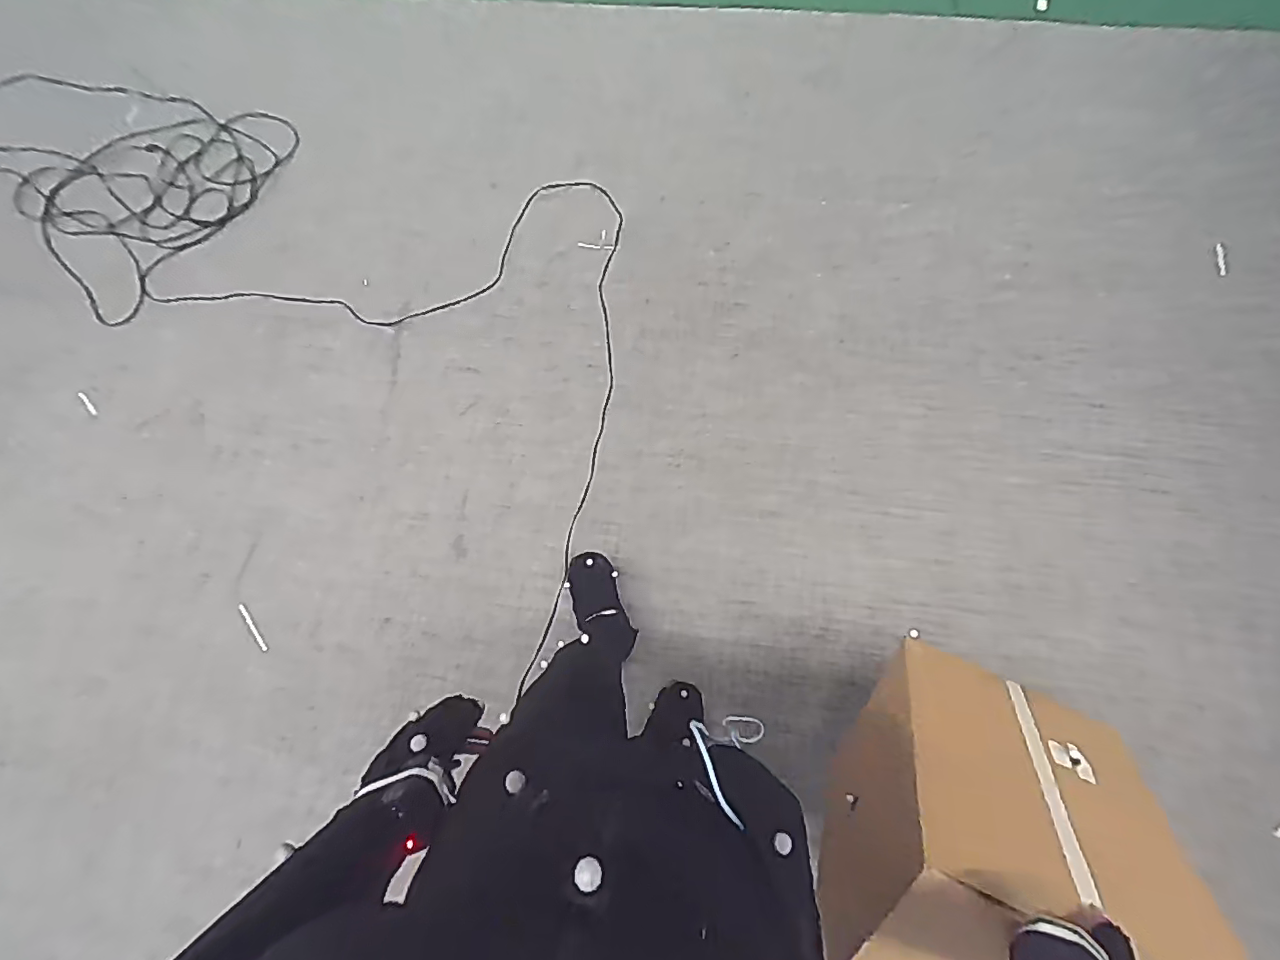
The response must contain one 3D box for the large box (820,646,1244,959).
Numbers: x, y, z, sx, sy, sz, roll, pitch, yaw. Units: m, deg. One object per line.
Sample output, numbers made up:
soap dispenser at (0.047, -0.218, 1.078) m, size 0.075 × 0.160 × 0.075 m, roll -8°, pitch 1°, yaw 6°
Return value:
large box at (0.449, 0.509, 0.712) m, size 0.320 × 0.408 × 0.320 m, roll 23°, pitch 114°, yaw 15°
